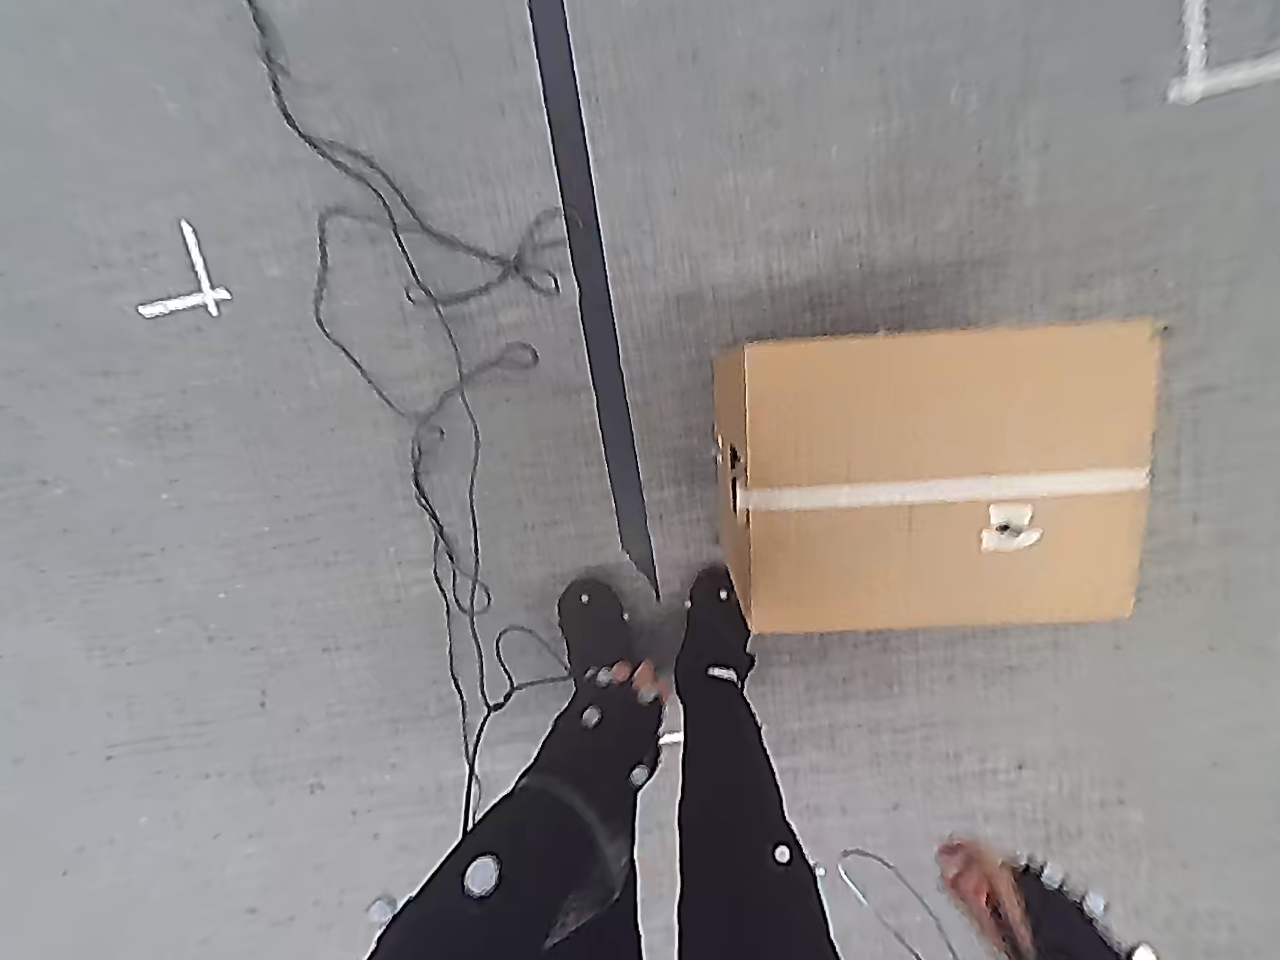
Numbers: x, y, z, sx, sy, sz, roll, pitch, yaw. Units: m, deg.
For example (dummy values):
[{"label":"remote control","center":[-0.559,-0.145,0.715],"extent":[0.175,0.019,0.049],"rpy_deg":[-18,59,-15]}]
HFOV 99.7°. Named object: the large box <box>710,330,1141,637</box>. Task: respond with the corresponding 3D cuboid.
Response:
[{"label":"large box","center":[0.315,-0.012,0.717],"extent":[0.408,0.320,0.320],"rpy_deg":[-3,101,2]}]
